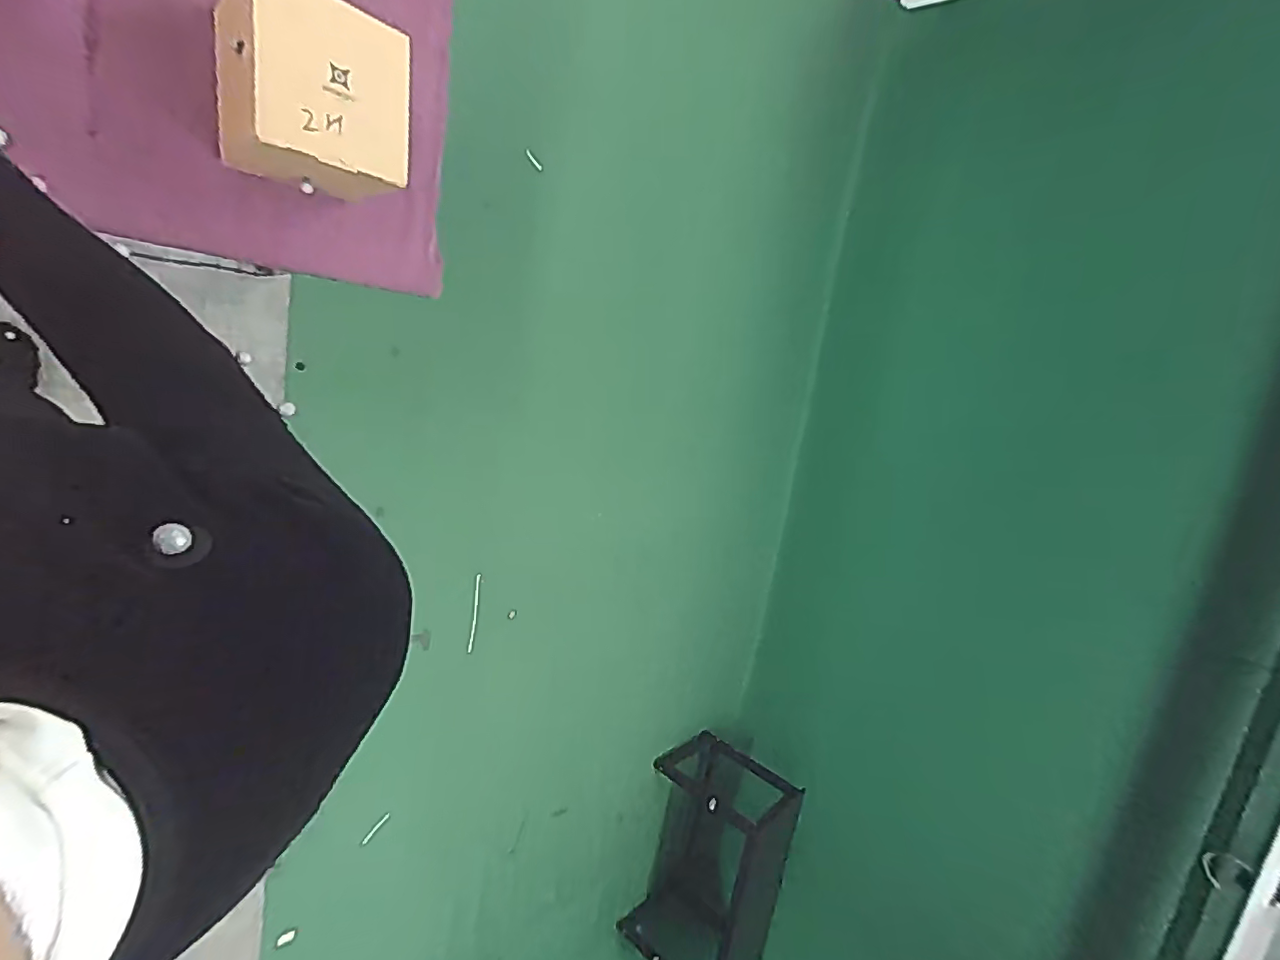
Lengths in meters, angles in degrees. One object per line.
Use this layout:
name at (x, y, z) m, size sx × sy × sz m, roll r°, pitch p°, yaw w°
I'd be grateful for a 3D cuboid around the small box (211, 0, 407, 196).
small box at (-0.407, -0.475, 0.665) m, size 0.168 × 0.176 × 0.179 m, roll -6°, pitch 107°, yaw -48°
